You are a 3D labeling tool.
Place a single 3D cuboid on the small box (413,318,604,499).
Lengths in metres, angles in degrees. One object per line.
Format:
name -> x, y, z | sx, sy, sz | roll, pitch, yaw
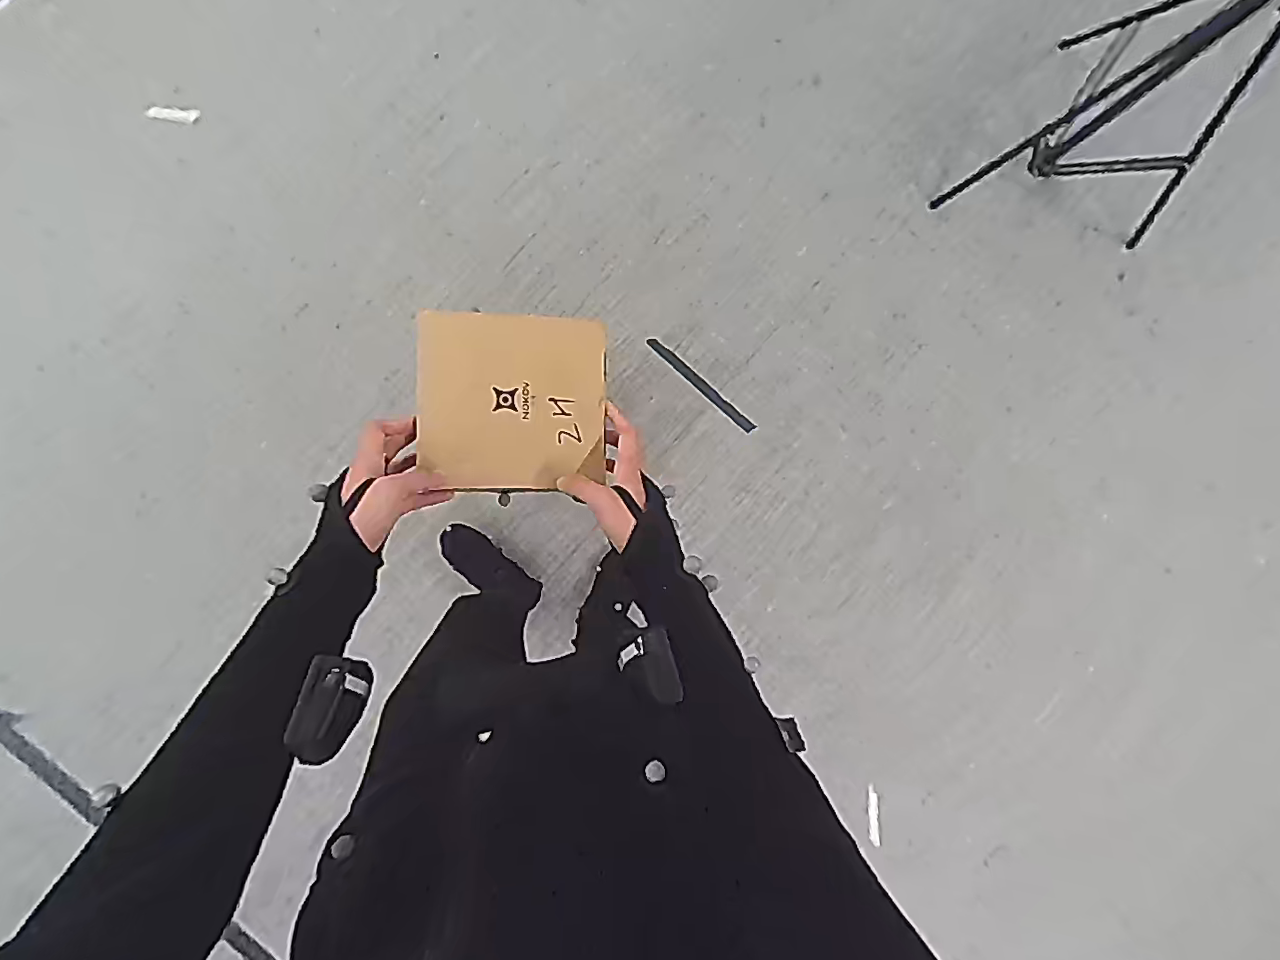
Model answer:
small box -> -0.135, -0.064, 0.586 | 0.179, 0.176, 0.168 | 0, 88, -12
